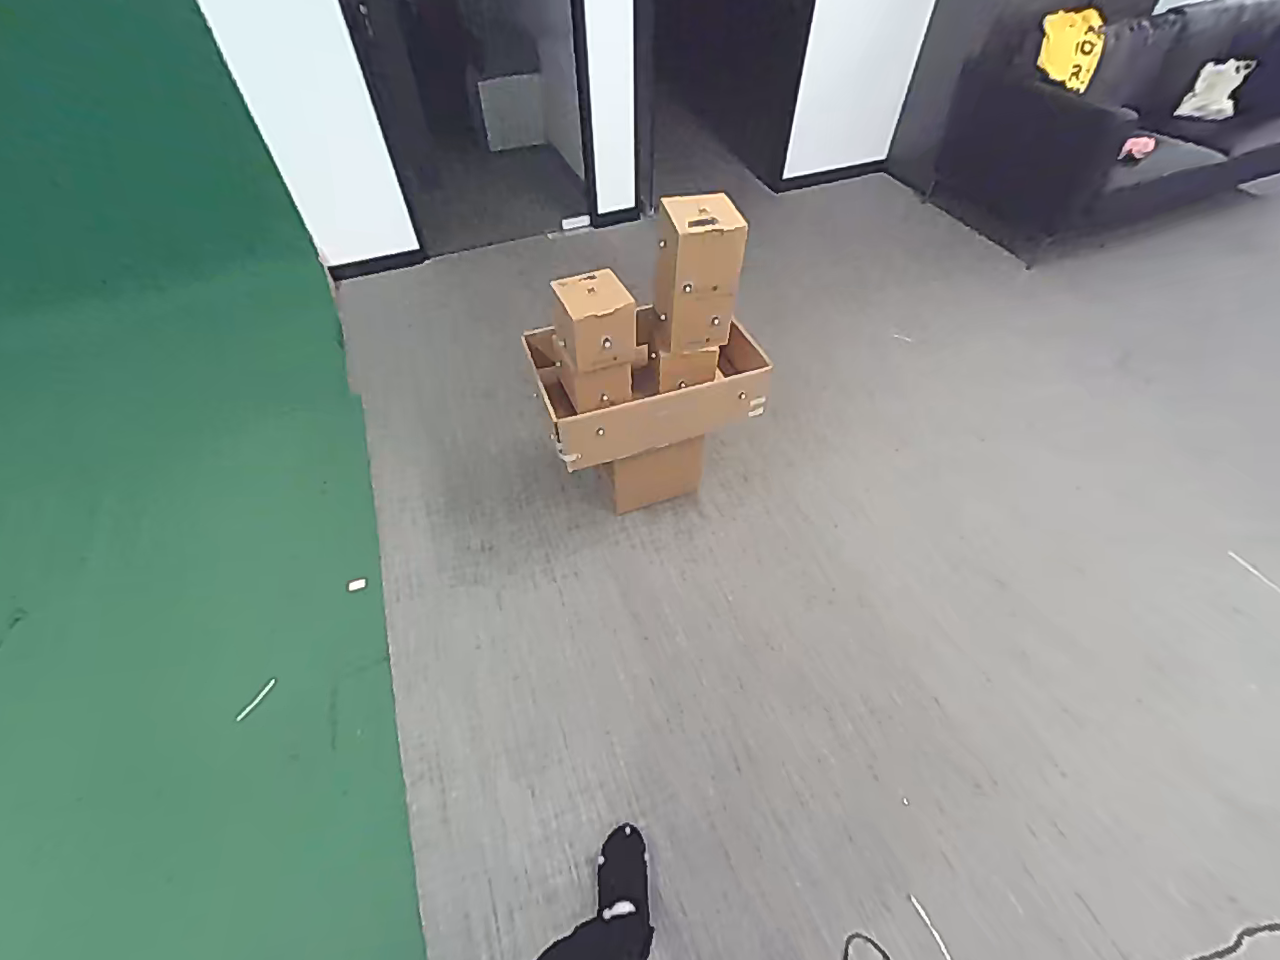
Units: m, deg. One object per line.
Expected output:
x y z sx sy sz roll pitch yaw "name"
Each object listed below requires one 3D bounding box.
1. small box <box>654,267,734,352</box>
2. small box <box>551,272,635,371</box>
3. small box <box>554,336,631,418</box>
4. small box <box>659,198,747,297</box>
0.137 -0.457 1.443 0.168 0.176 0.179 -11 52 -10 "small box"
-0.118 -0.400 1.389 0.168 0.176 0.179 -18 54 -16 "small box"
-0.133 -0.304 1.522 0.168 0.176 0.179 -19 54 -15 "small box"
0.145 -0.559 1.315 0.168 0.176 0.179 -8 51 -9 "small box"
